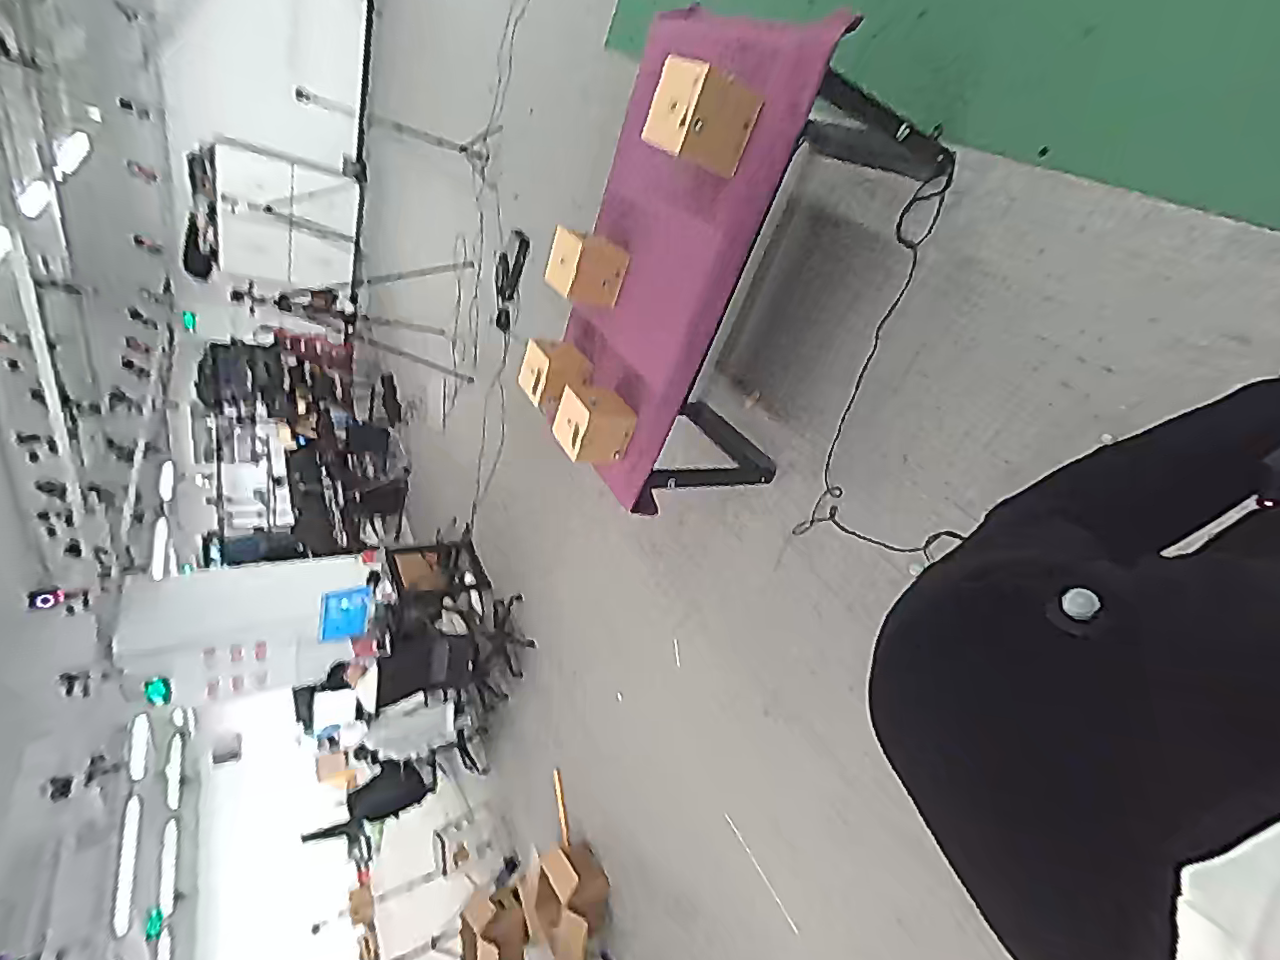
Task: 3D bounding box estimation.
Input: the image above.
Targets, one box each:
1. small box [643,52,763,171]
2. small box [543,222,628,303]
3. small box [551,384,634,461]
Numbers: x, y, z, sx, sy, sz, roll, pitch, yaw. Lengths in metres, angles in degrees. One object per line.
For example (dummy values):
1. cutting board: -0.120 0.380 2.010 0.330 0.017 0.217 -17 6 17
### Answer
1. small box: 0.139 -0.824 1.218 0.179 0.176 0.168 54 133 40
2. small box: -0.166 -0.654 1.639 0.179 0.176 0.168 50 128 38
3. small box: -0.142 -0.173 1.622 0.179 0.176 0.168 52 129 40
